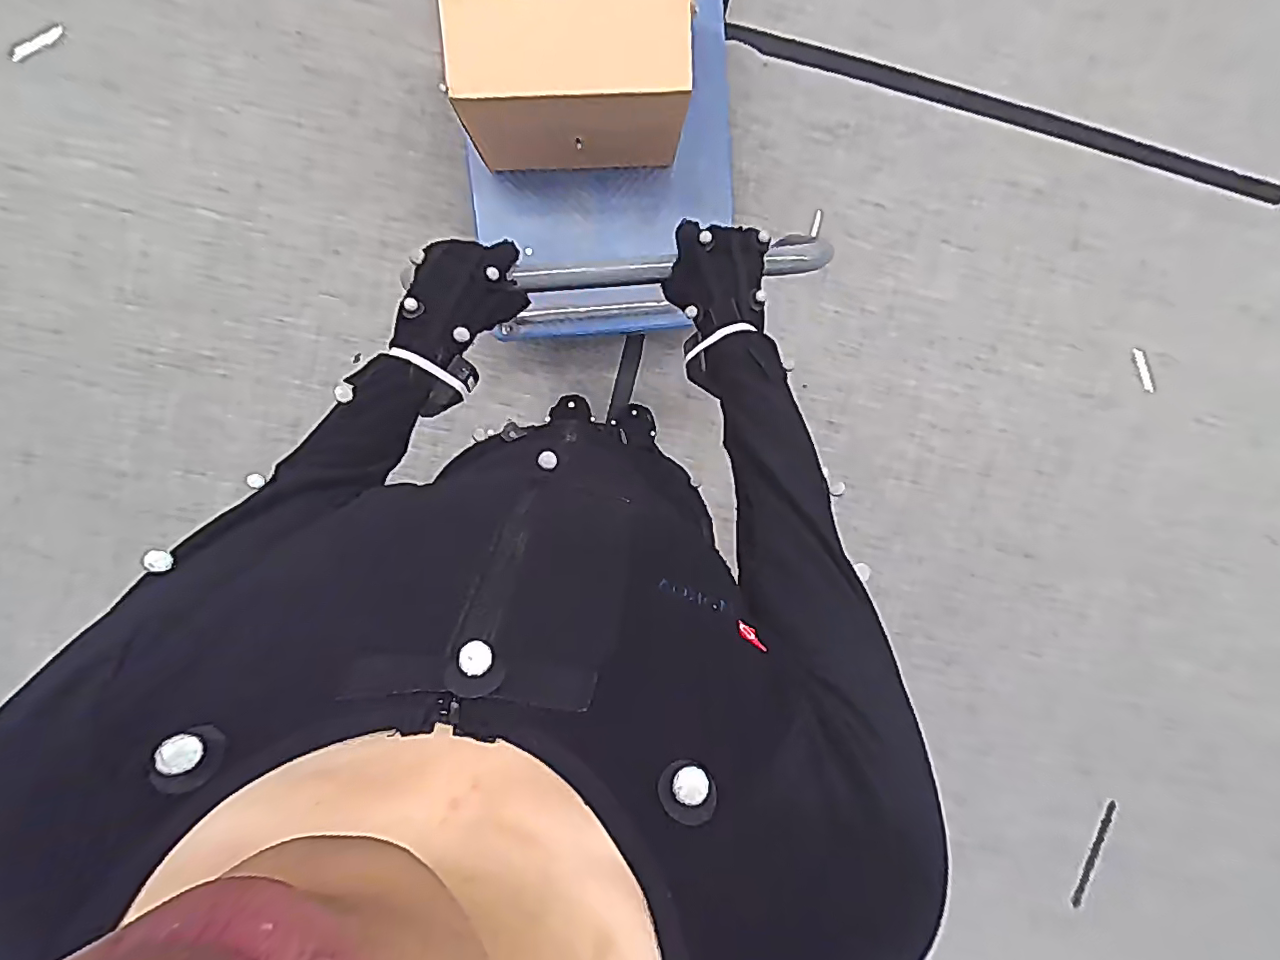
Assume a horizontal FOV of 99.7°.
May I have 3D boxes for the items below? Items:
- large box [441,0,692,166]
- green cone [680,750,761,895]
[{"bbox_3d":[-0.124,-0.815,1.010,0.408,0.320,0.320,-3,100,-1],"label":"large box"},{"bbox_3d":[0.252,0.948,1.465,0.202,0.368,0.200,17,98,-7],"label":"green cone"}]
